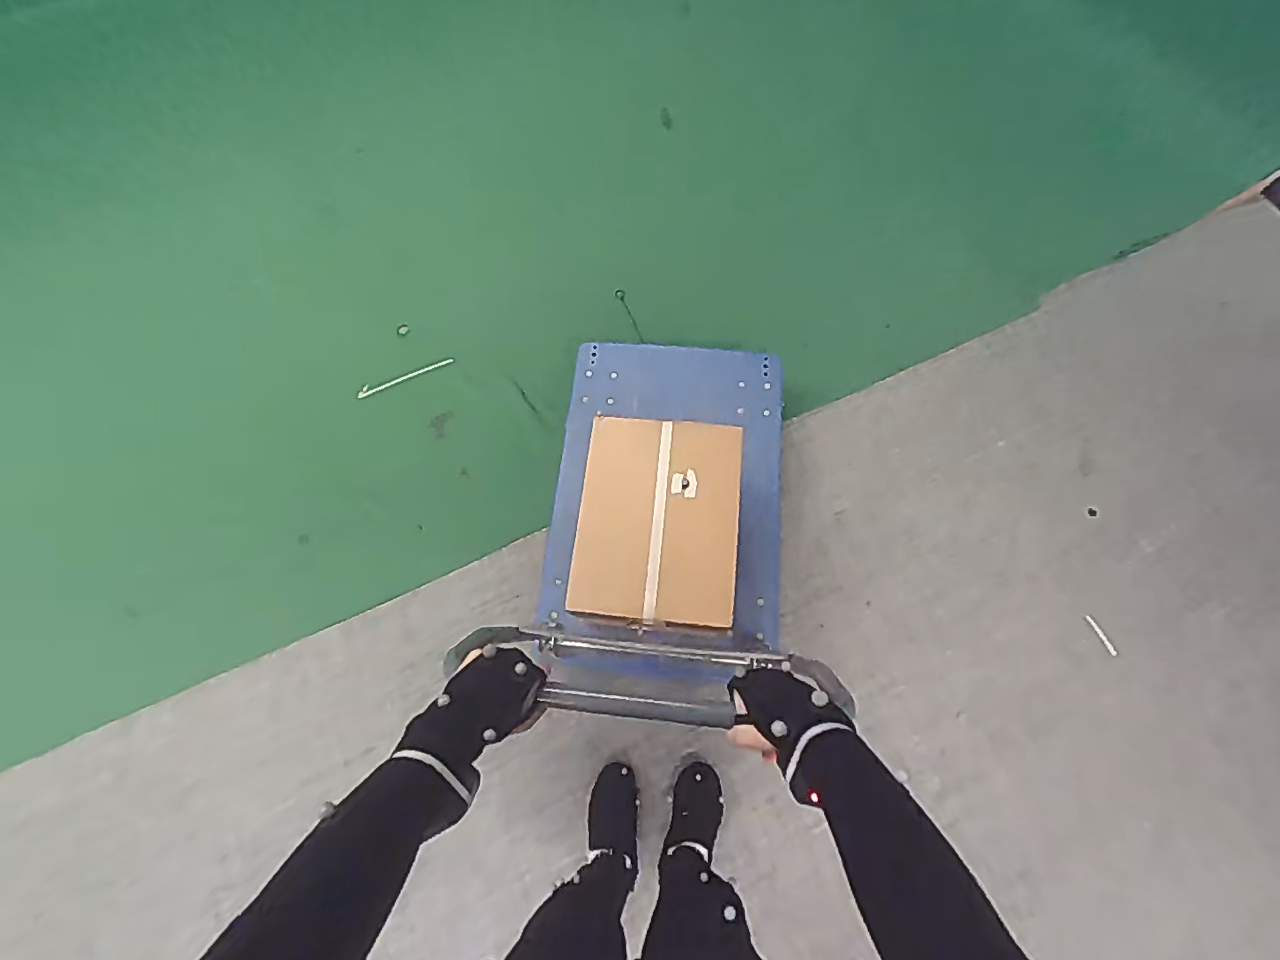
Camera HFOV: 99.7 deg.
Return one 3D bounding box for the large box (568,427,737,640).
[{"bbox_3d":[0.041,0.135,1.216,0.320,0.320,0.408,5,71,4],"label":"large box"}]
